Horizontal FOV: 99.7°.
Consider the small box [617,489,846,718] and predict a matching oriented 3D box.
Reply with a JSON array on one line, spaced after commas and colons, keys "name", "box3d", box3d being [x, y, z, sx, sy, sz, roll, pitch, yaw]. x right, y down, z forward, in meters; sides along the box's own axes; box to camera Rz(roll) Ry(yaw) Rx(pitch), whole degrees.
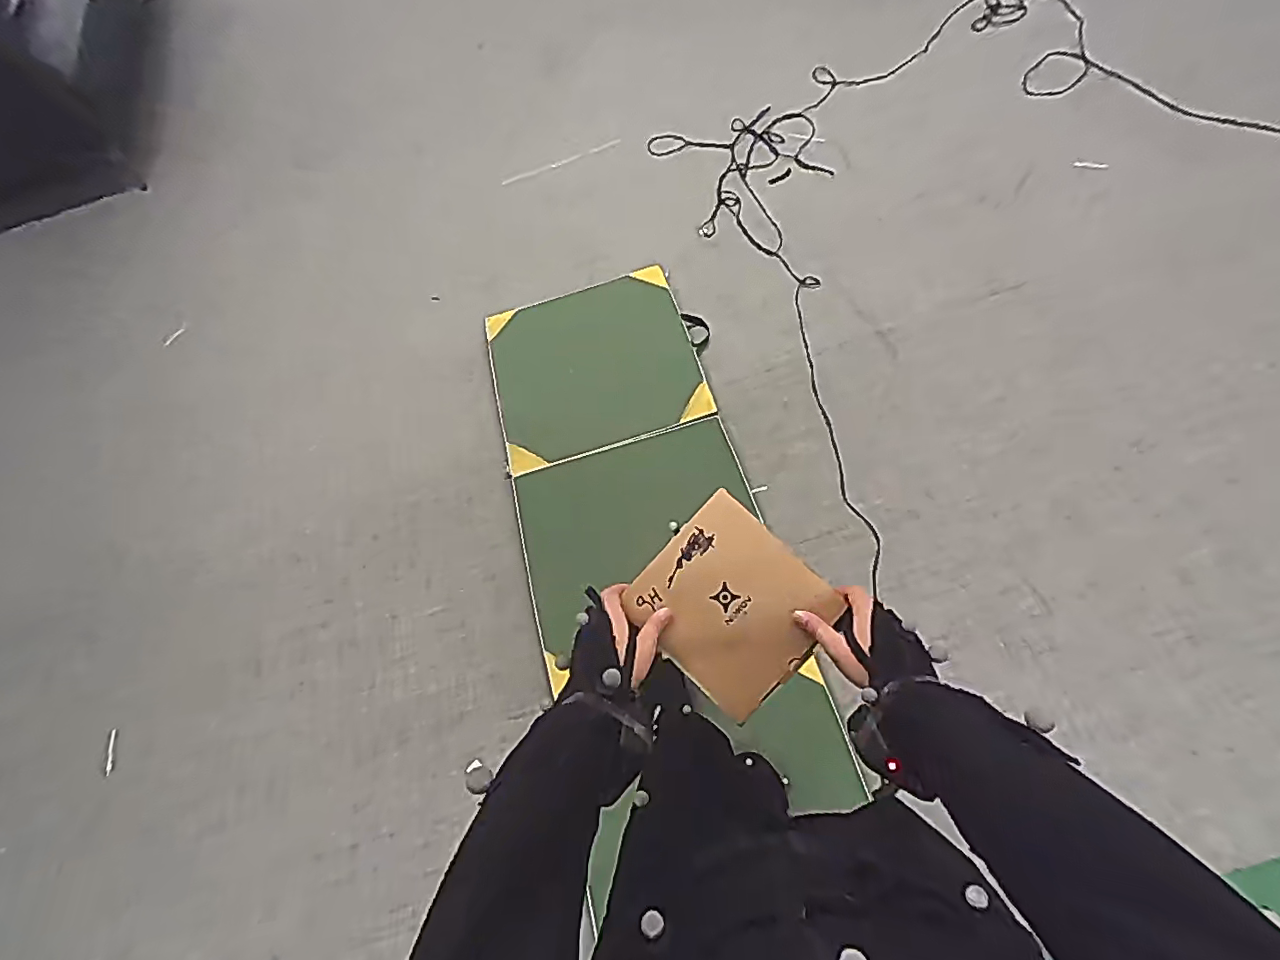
[{"name": "small box", "box3d": [0.098, 0.132, 0.629, 0.179, 0.176, 0.168, 43, 87, 8]}]
